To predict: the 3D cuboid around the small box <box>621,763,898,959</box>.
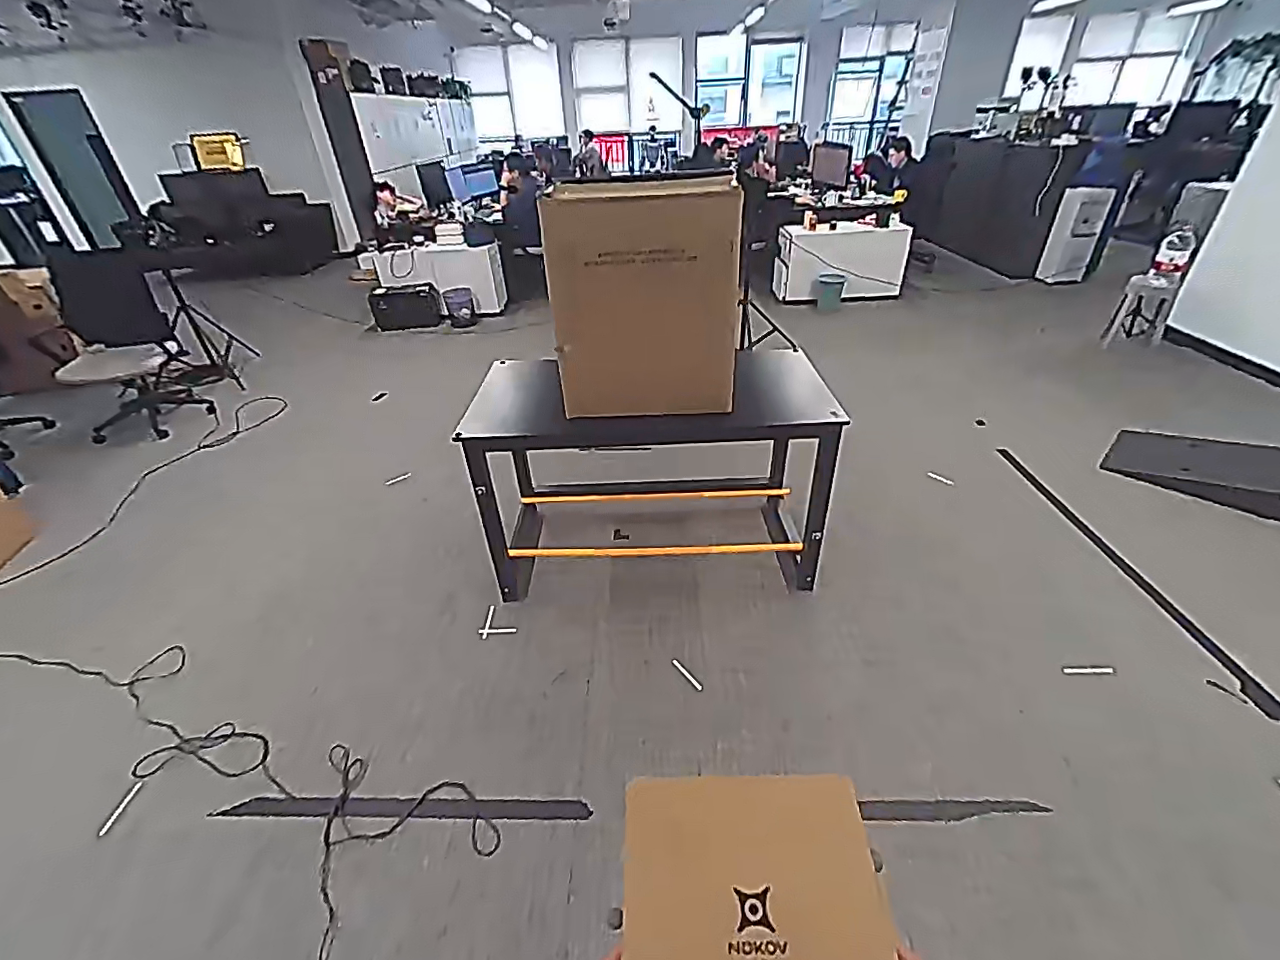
[{"bbox_3d":[0.075,0.329,0.389,0.168,0.176,0.179,-4,42,4],"label":"small box"}]
